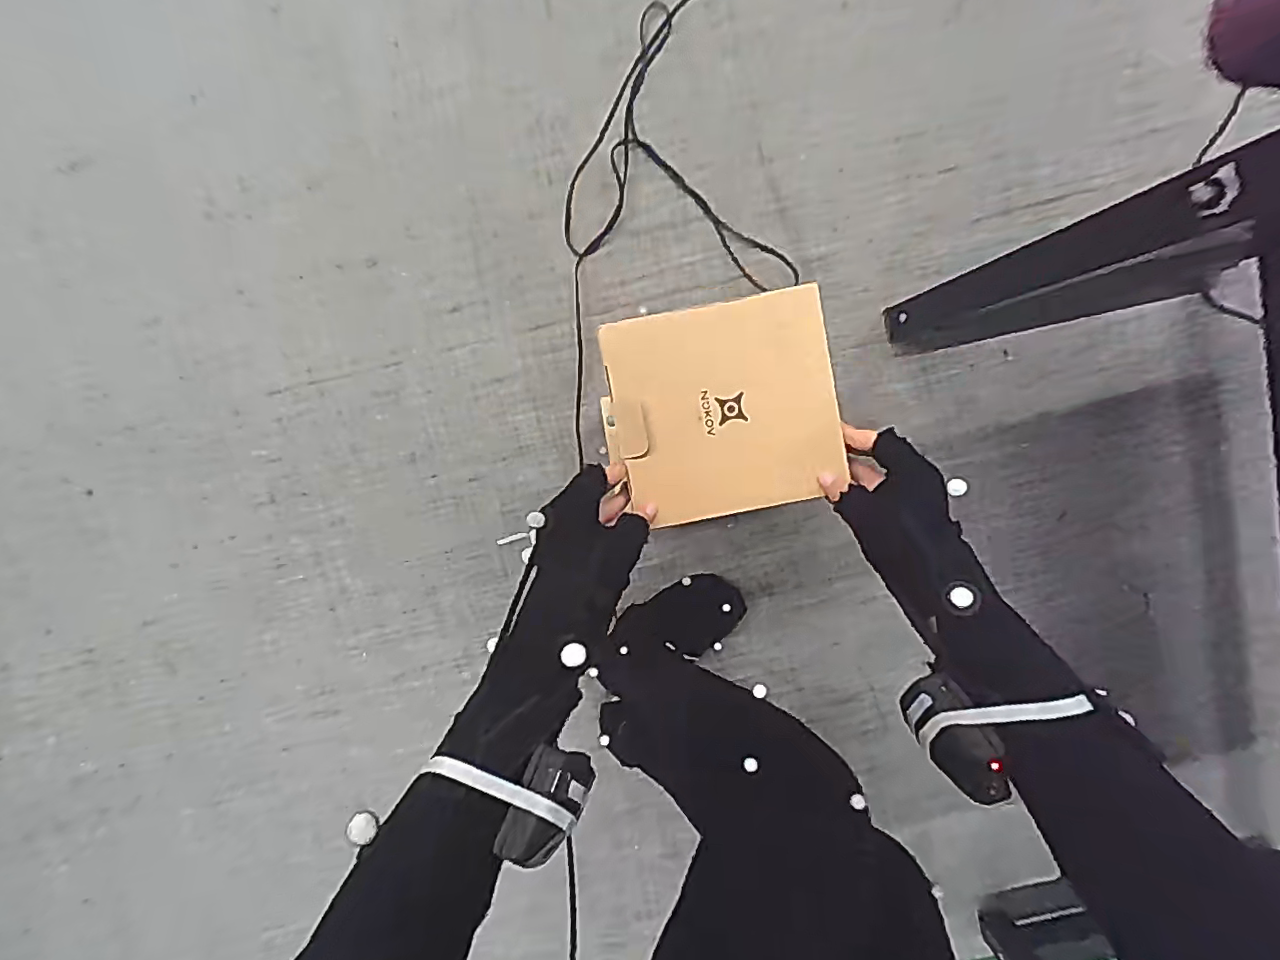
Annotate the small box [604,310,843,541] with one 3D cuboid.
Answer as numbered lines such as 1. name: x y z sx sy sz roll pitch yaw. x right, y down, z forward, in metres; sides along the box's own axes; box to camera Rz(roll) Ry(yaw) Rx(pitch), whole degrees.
1. small box: 0.067 -0.049 0.514 0.179 0.176 0.168 -10 94 1
